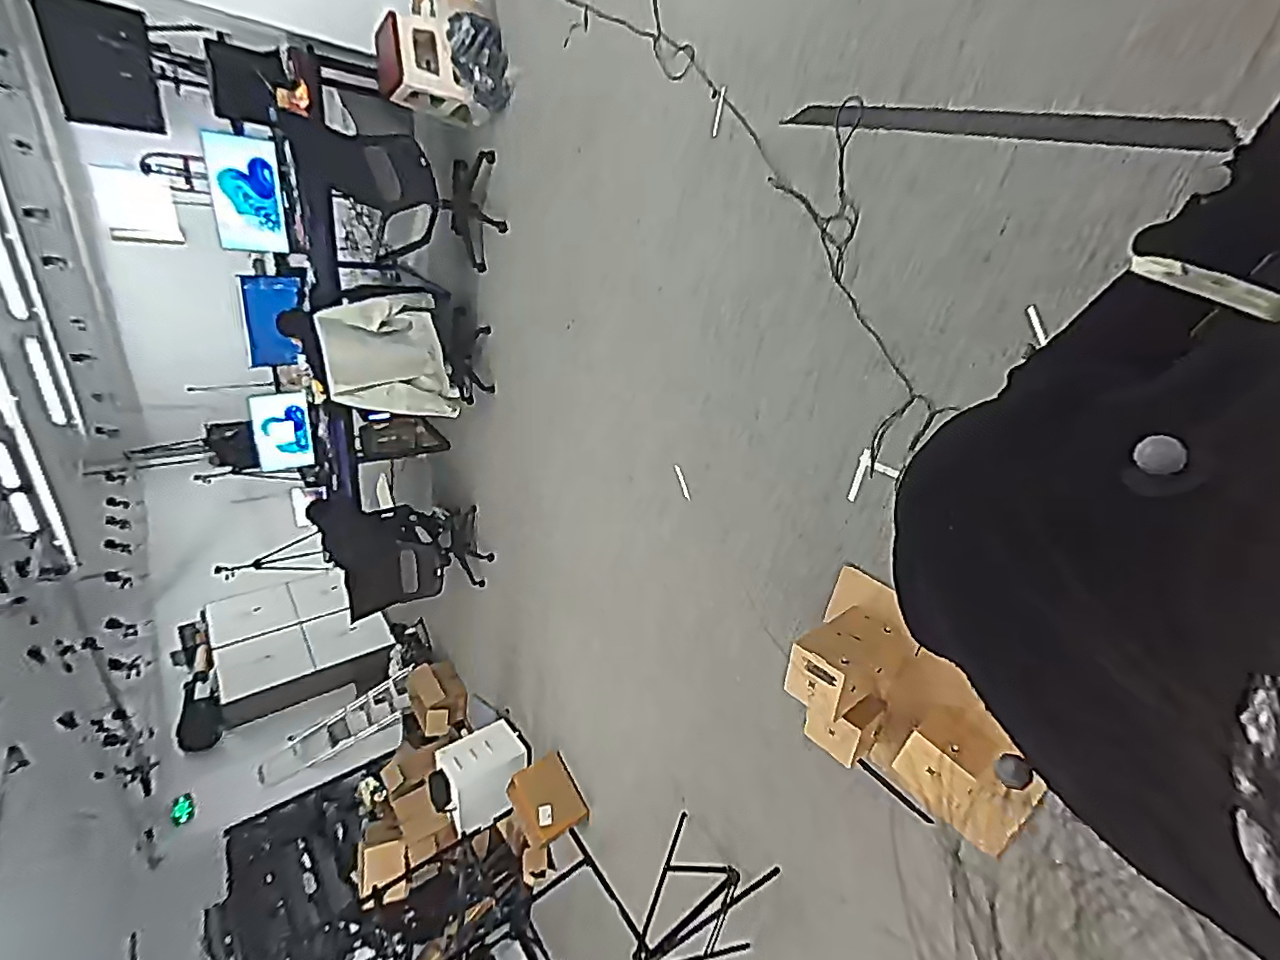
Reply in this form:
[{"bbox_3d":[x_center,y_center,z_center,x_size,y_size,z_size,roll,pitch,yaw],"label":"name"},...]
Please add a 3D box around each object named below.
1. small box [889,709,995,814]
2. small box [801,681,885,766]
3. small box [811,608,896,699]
[{"bbox_3d":[0.844,0.773,1.510,0.179,0.176,0.168,37,127,37],"label":"small box"},{"bbox_3d":[0.654,0.770,1.748,0.179,0.176,0.168,28,123,43],"label":"small box"},{"bbox_3d":[0.660,0.524,1.662,0.168,0.176,0.179,29,123,43],"label":"small box"}]
